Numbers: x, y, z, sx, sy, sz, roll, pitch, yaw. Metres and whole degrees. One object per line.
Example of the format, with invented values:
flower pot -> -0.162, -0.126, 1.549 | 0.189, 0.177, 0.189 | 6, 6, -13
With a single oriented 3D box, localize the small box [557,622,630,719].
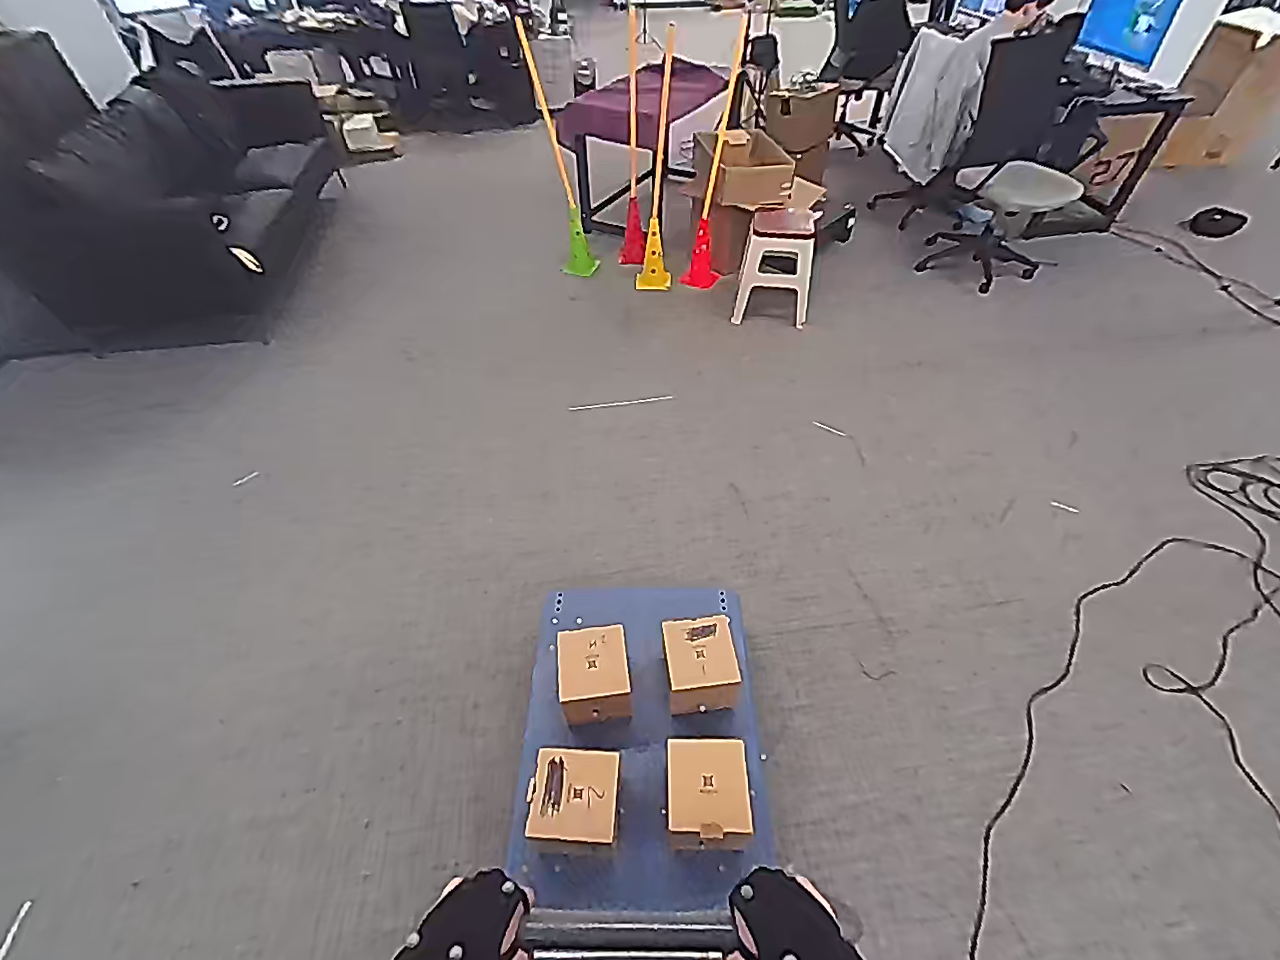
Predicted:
small box -> -0.116, 0.480, 1.349 | 0.168, 0.176, 0.179 | -5, 48, -5

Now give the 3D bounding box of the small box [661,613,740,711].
small box -> 0.143, 0.460, 1.363 | 0.168, 0.176, 0.179 | -6, 49, -3

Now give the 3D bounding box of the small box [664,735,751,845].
small box -> 0.138, 0.673, 1.173 | 0.168, 0.176, 0.179 | 0, 48, 1
